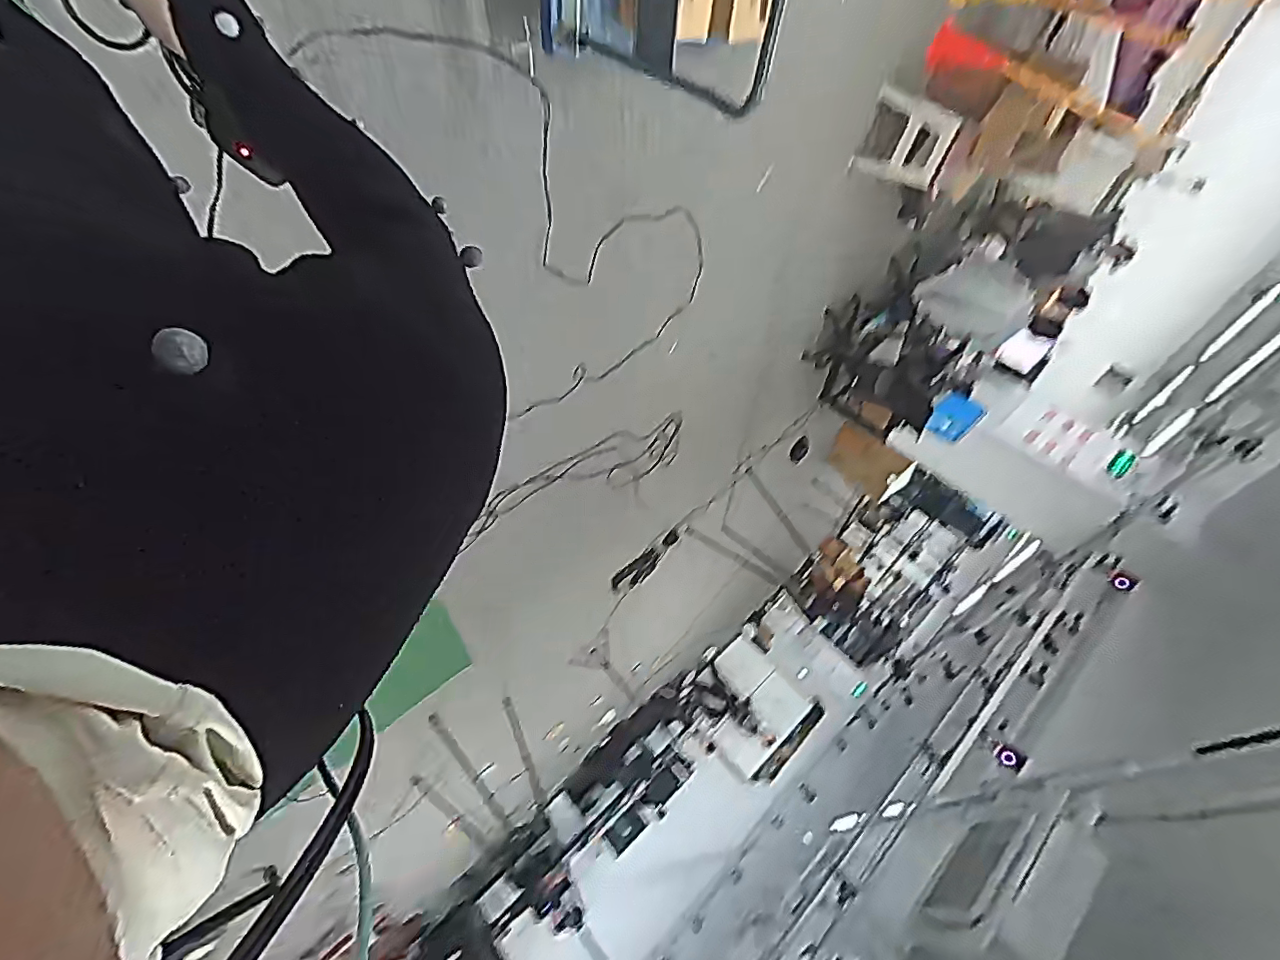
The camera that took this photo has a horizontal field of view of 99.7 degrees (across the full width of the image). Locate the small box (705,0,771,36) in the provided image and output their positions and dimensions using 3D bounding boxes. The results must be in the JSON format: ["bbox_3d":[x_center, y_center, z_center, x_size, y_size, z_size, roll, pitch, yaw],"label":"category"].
[{"bbox_3d":[0.256,-1.375,1.518,0.179,0.176,0.168,-31,149,-28],"label":"small box"}]

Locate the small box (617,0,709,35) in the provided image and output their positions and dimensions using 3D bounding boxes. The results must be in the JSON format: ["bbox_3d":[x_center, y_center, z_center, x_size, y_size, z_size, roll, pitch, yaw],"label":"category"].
[{"bbox_3d":[0.066,-1.266,1.384,0.179,0.176,0.168,-30,149,-31],"label":"small box"}]
